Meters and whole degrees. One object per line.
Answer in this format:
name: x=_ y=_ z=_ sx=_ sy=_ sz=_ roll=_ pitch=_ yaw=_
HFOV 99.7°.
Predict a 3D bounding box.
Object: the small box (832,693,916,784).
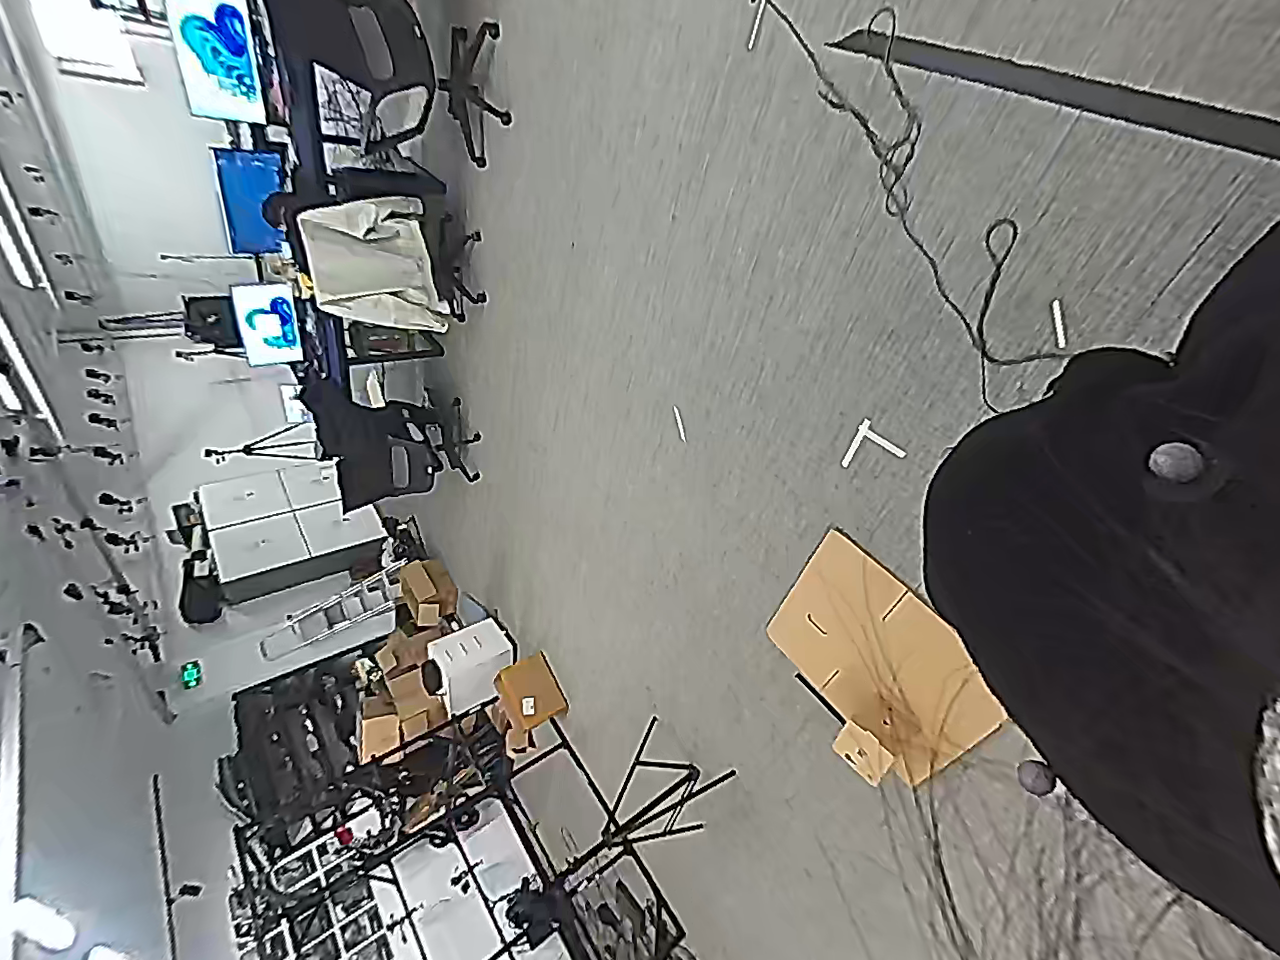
small box: x=0.768 y=0.835 z=1.761 sx=0.168 sy=0.176 sz=0.179 roll=40 pitch=132 yaw=36
